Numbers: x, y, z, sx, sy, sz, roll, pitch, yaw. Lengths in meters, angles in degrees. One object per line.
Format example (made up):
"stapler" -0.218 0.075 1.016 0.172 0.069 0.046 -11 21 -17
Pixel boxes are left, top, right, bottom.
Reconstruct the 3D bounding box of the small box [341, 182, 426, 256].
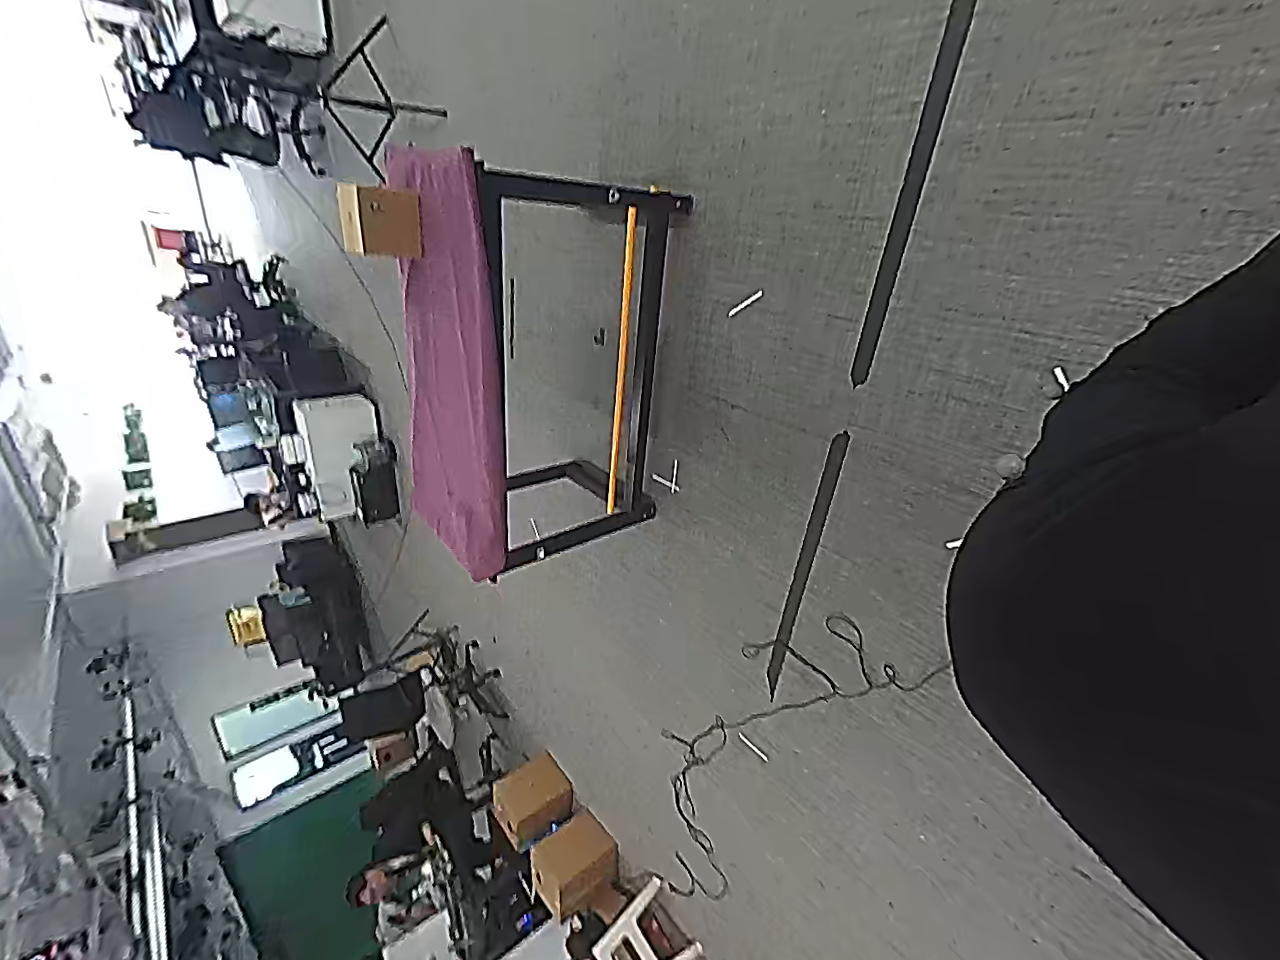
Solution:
"small box" -0.738 -0.753 1.564 0.168 0.176 0.179 30 125 41
